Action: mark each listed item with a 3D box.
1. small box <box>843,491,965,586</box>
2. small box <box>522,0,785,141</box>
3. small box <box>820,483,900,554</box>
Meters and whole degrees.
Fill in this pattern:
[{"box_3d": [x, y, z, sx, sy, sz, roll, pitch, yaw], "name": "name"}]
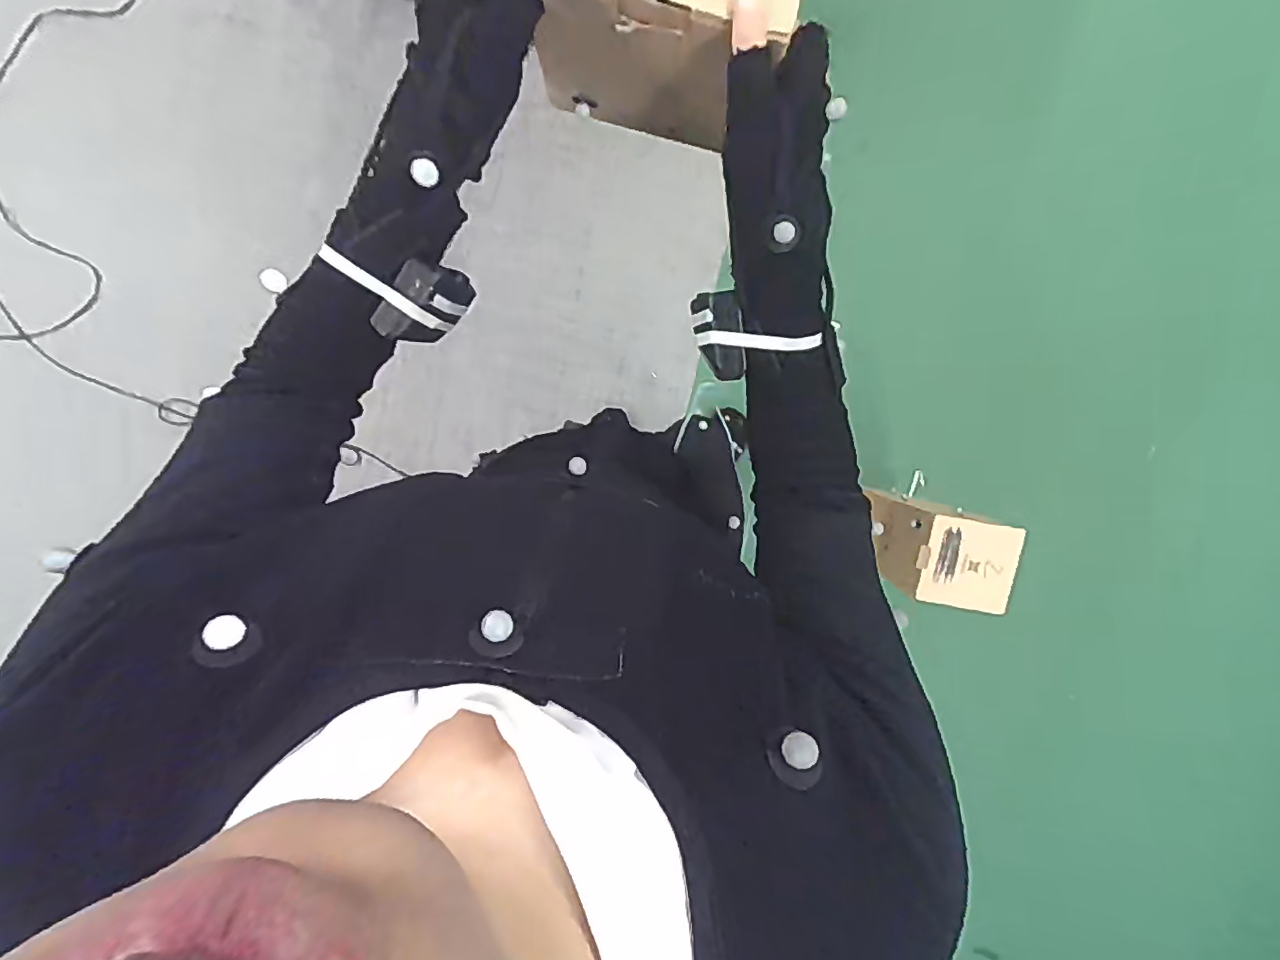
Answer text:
[{"box_3d": [0.597, 0.127, 1.244, 0.179, 0.176, 0.168, 10, 97, -1], "name": "small box"}, {"box_3d": [0.020, -0.376, 0.378, 0.168, 0.176, 0.179, 12, 99, -4], "name": "small box"}, {"box_3d": [0.596, 0.109, 1.405, 0.179, 0.176, 0.168, 12, 96, -2], "name": "small box"}]
